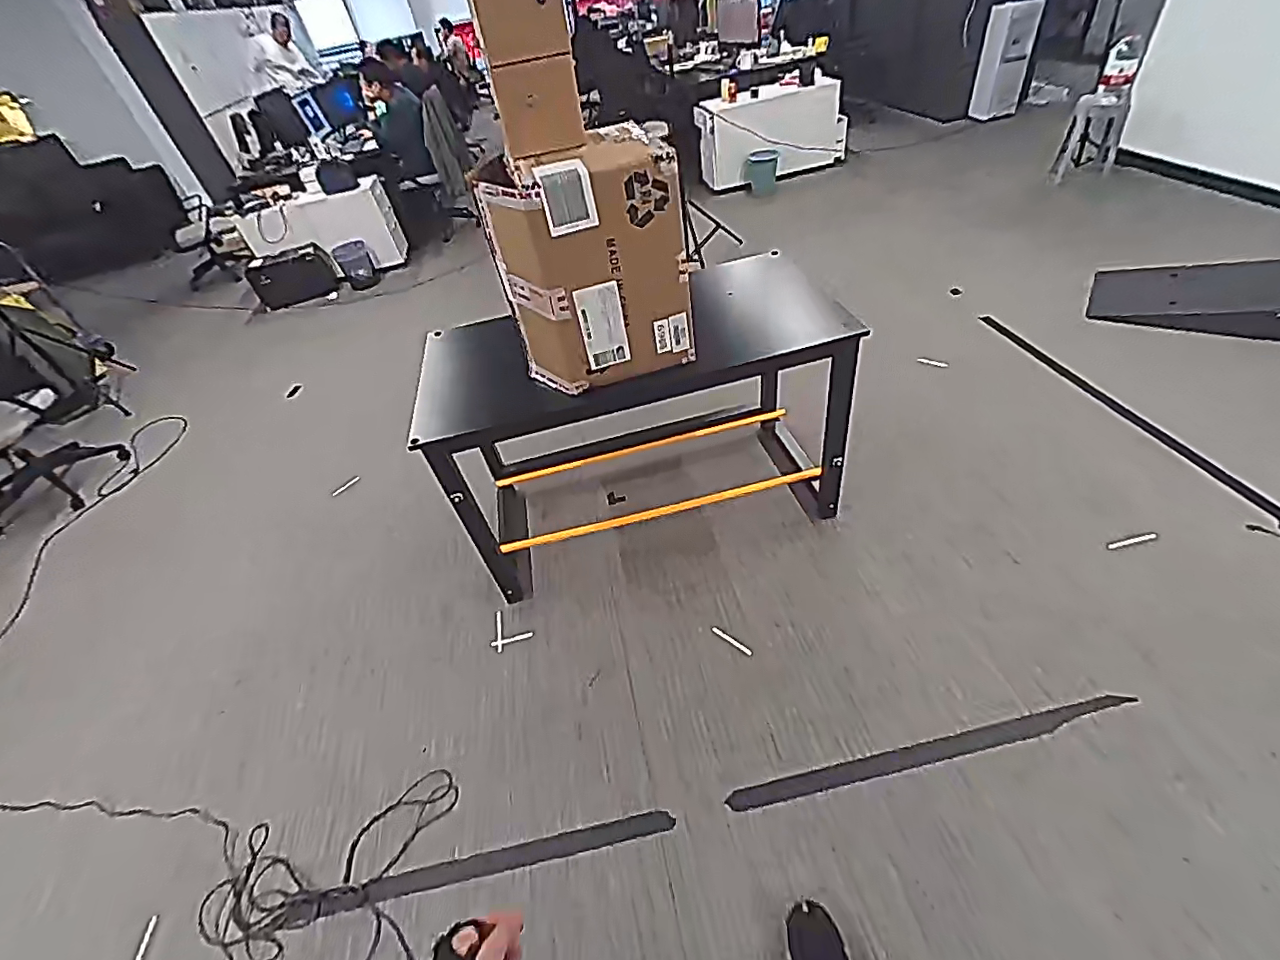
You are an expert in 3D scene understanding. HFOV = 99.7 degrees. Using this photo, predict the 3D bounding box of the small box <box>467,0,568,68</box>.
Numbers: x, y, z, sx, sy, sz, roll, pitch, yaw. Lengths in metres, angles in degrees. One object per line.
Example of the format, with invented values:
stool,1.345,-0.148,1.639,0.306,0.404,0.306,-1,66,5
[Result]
small box,-0.254,-0.961,1.103,0.179,0.176,0.168,-18,40,-7

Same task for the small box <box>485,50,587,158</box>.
small box,-0.233,-0.843,1.214,0.179,0.176,0.168,-16,41,-6
